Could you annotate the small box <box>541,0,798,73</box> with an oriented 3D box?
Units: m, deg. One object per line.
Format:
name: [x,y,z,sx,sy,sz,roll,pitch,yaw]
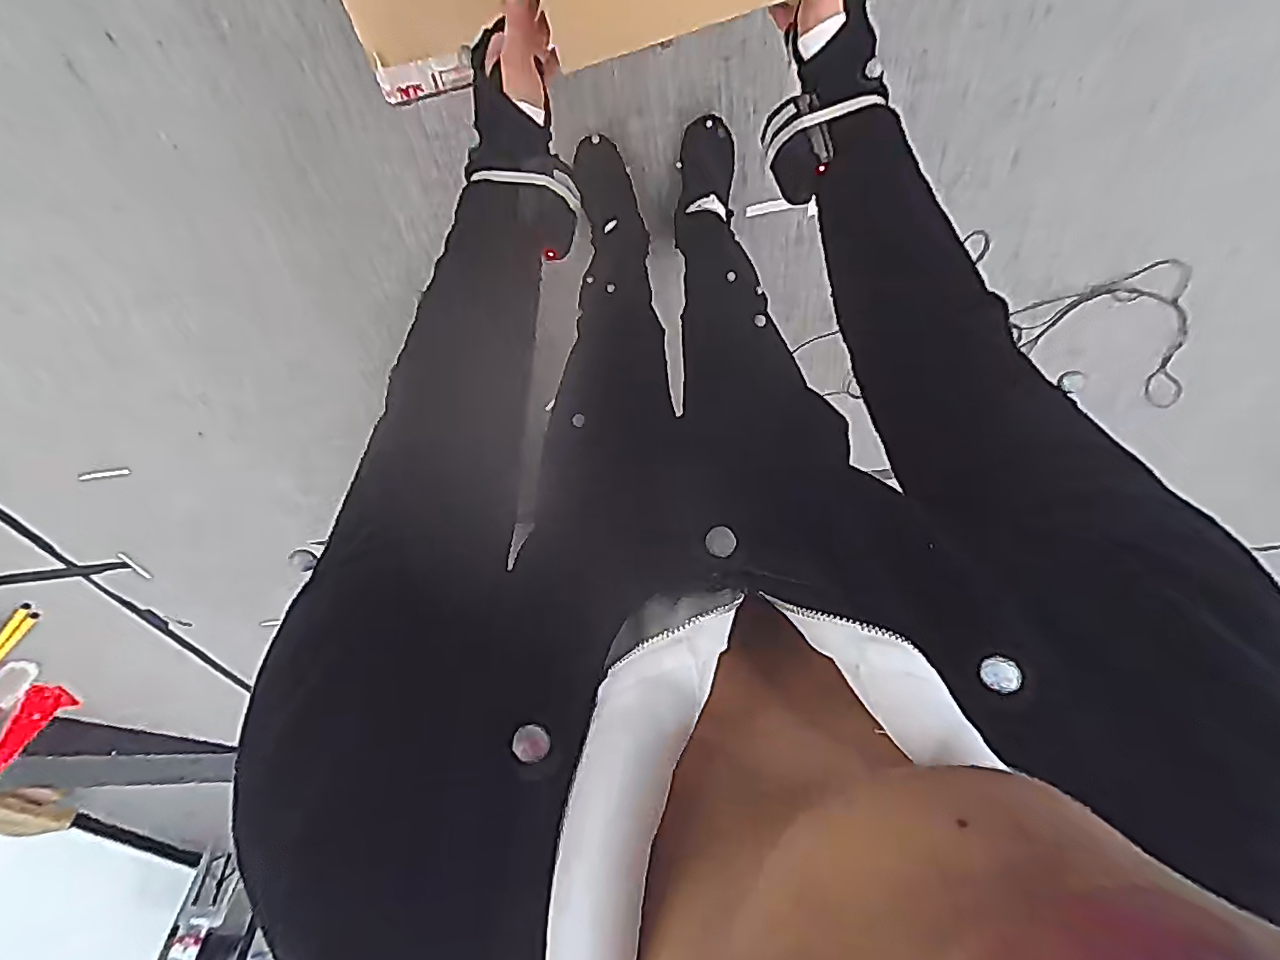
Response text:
small box: [0.002,-0.395,0.336,0.168,0.176,0.179,-14,135,6]
